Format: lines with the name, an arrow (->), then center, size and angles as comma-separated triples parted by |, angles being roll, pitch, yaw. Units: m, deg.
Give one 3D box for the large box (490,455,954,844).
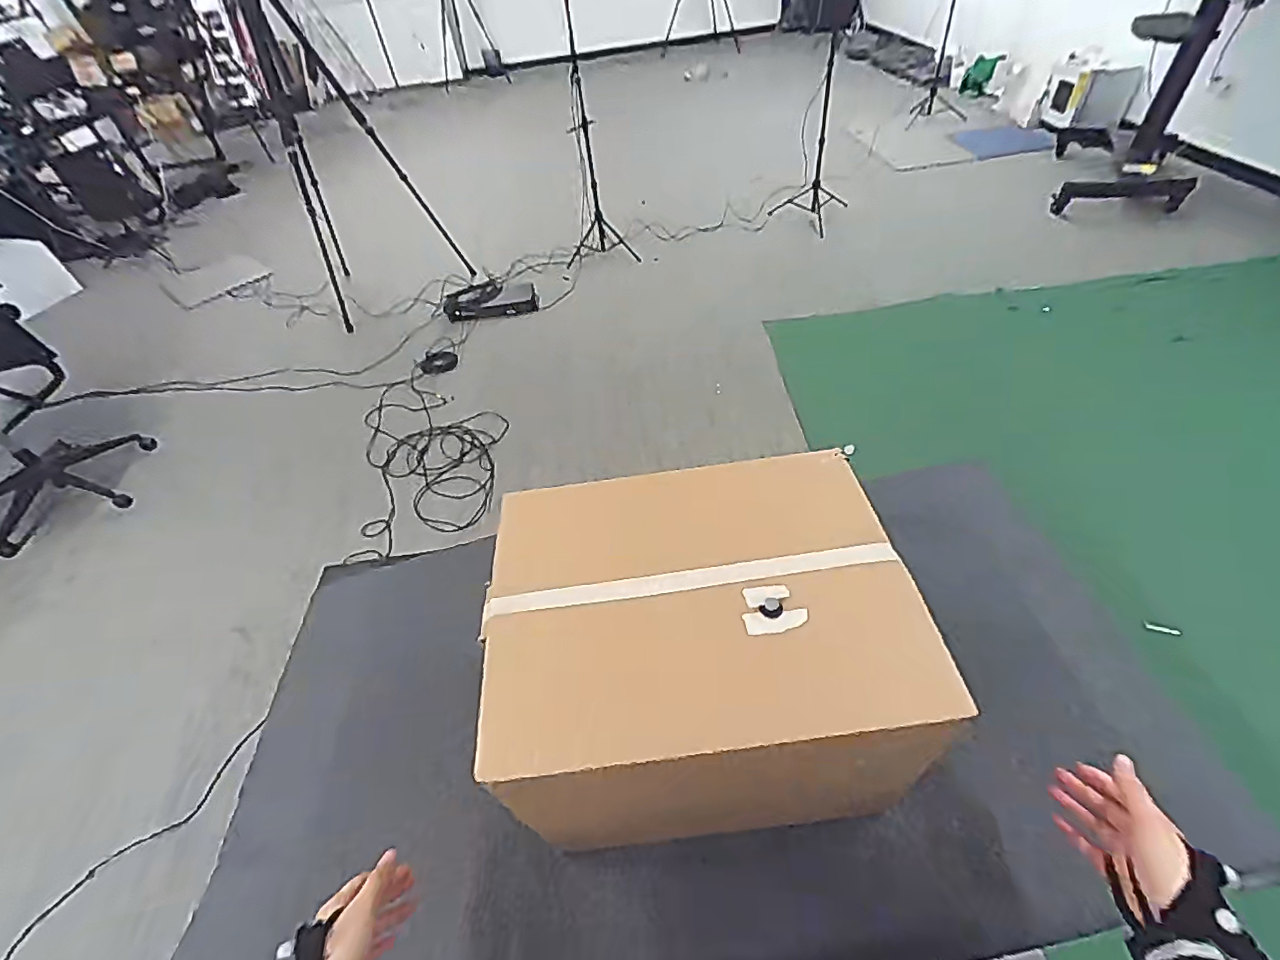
large box -> 0.066, 0.208, 0.657 | 0.408, 0.320, 0.320 | -8, 47, 0
